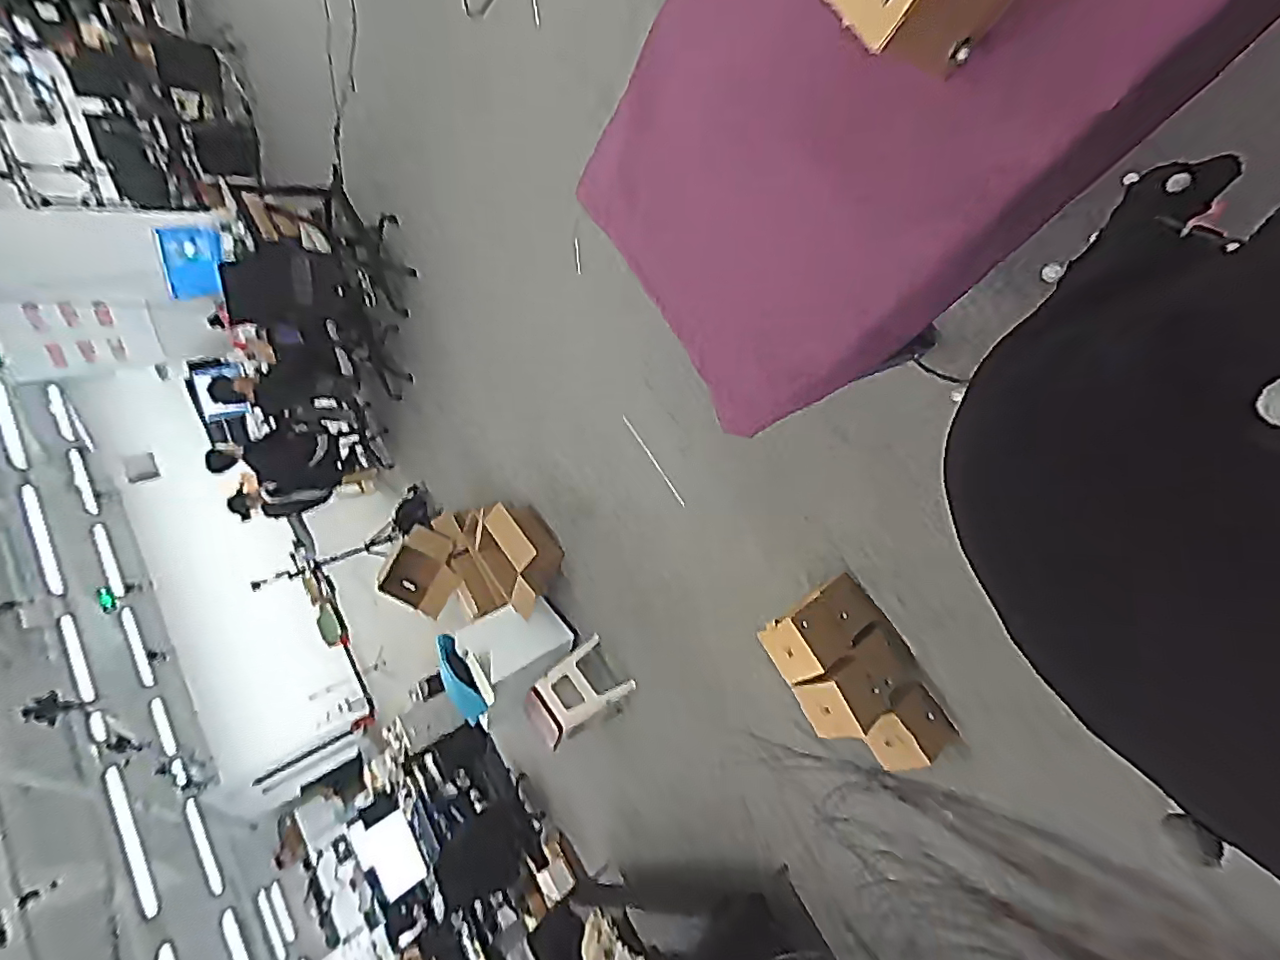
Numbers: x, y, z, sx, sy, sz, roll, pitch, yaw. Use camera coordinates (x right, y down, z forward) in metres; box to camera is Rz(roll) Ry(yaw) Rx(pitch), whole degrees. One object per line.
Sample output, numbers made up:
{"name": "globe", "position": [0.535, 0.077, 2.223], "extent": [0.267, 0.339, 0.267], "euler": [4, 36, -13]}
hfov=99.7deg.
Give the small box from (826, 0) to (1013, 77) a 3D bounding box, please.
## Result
{"name": "small box", "position": [0.288, -0.542, 0.535], "extent": [0.179, 0.176, 0.168], "euler": [60, 140, 13]}
